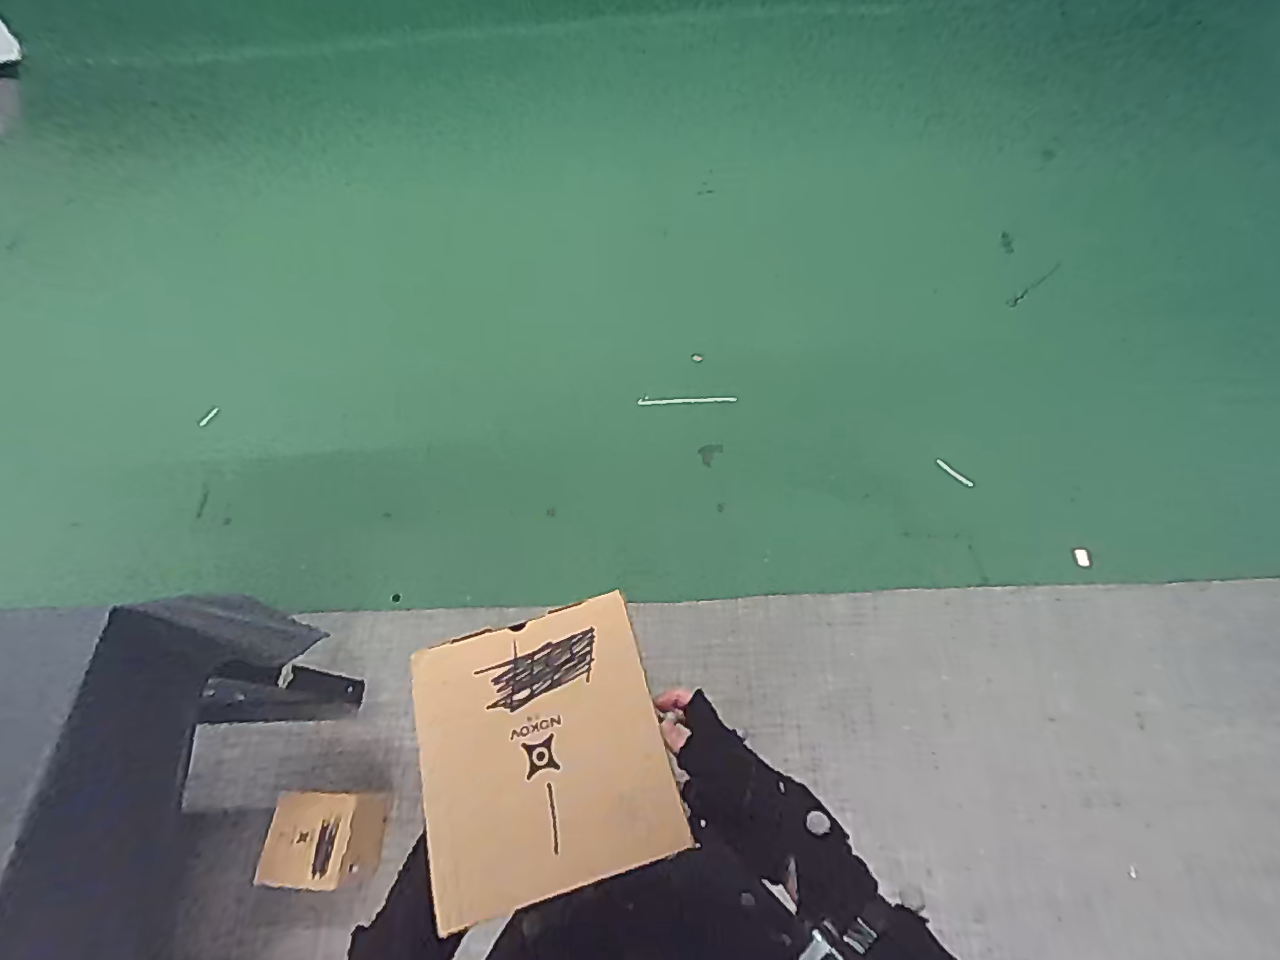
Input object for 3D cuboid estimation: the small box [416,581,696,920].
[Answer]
[{"bbox_3d":[-0.062,0.206,0.436,0.168,0.176,0.179,-15,63,-5],"label":"small box"}]
